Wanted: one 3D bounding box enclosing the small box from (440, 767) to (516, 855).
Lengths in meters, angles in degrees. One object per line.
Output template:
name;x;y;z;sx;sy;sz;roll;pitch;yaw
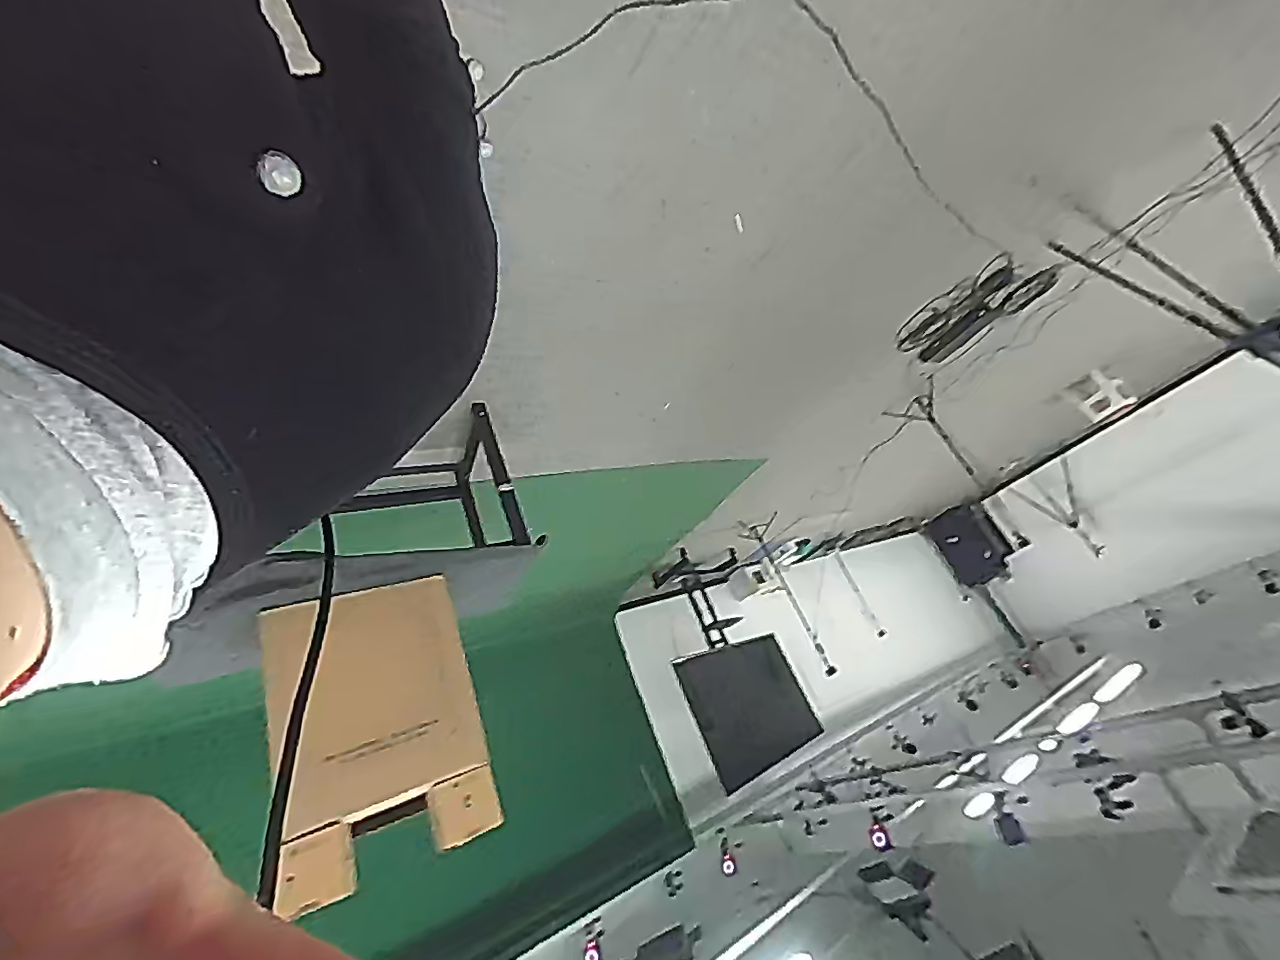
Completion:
small box;-0.493;0.992;1.630;0.168;0.176;0.179;-9;151;-33

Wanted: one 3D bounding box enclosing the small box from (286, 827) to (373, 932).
small box;-0.810;1.033;1.416;0.168;0.176;0.179;-11;153;-24
